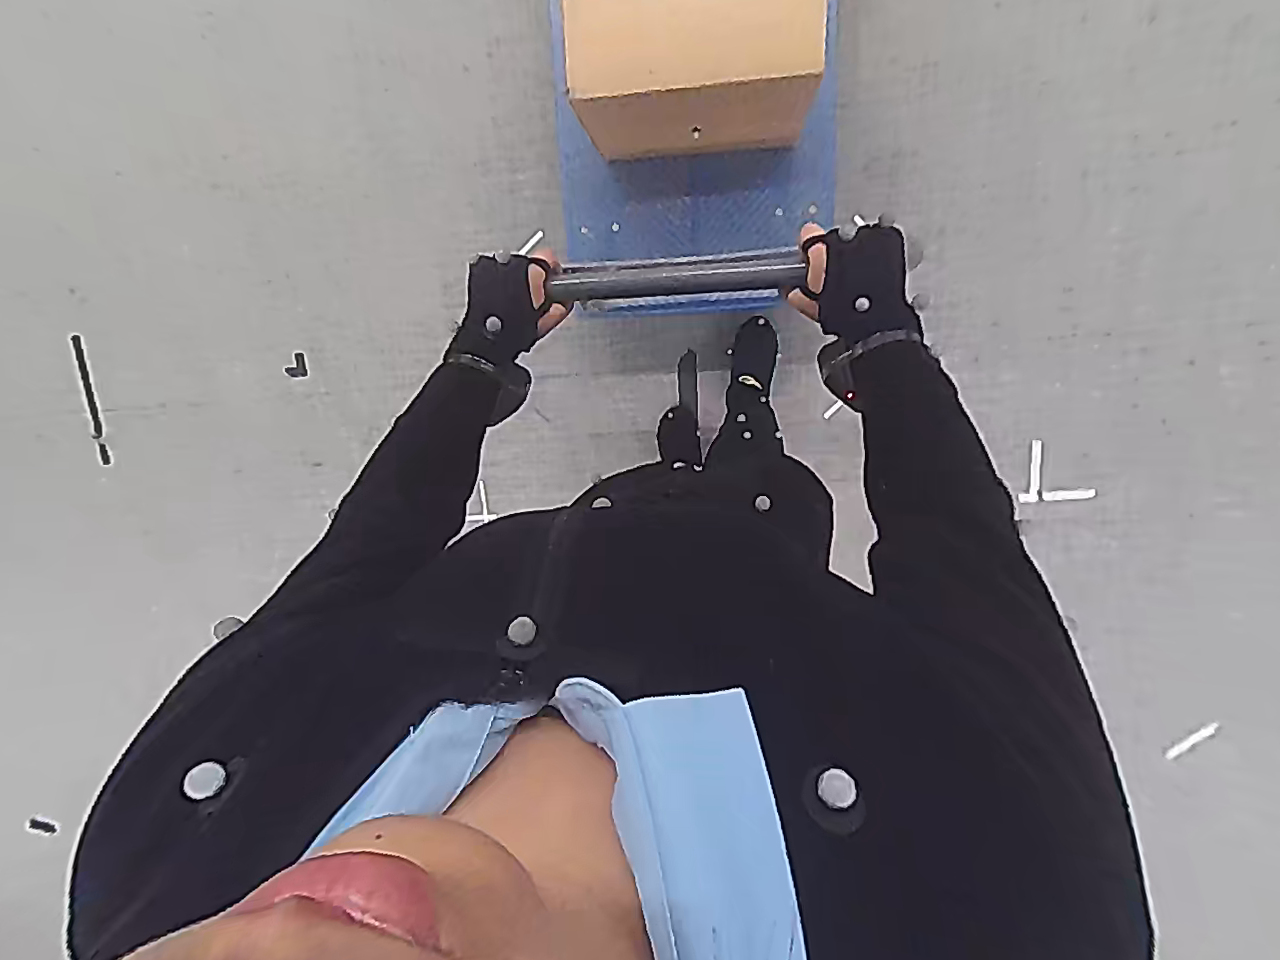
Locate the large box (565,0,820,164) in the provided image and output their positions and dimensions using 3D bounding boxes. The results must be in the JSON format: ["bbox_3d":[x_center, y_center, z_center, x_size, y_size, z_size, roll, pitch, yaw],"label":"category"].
[{"bbox_3d":[0.098,-0.807,0.981,0.408,0.320,0.320,-1,103,9],"label":"large box"}]
